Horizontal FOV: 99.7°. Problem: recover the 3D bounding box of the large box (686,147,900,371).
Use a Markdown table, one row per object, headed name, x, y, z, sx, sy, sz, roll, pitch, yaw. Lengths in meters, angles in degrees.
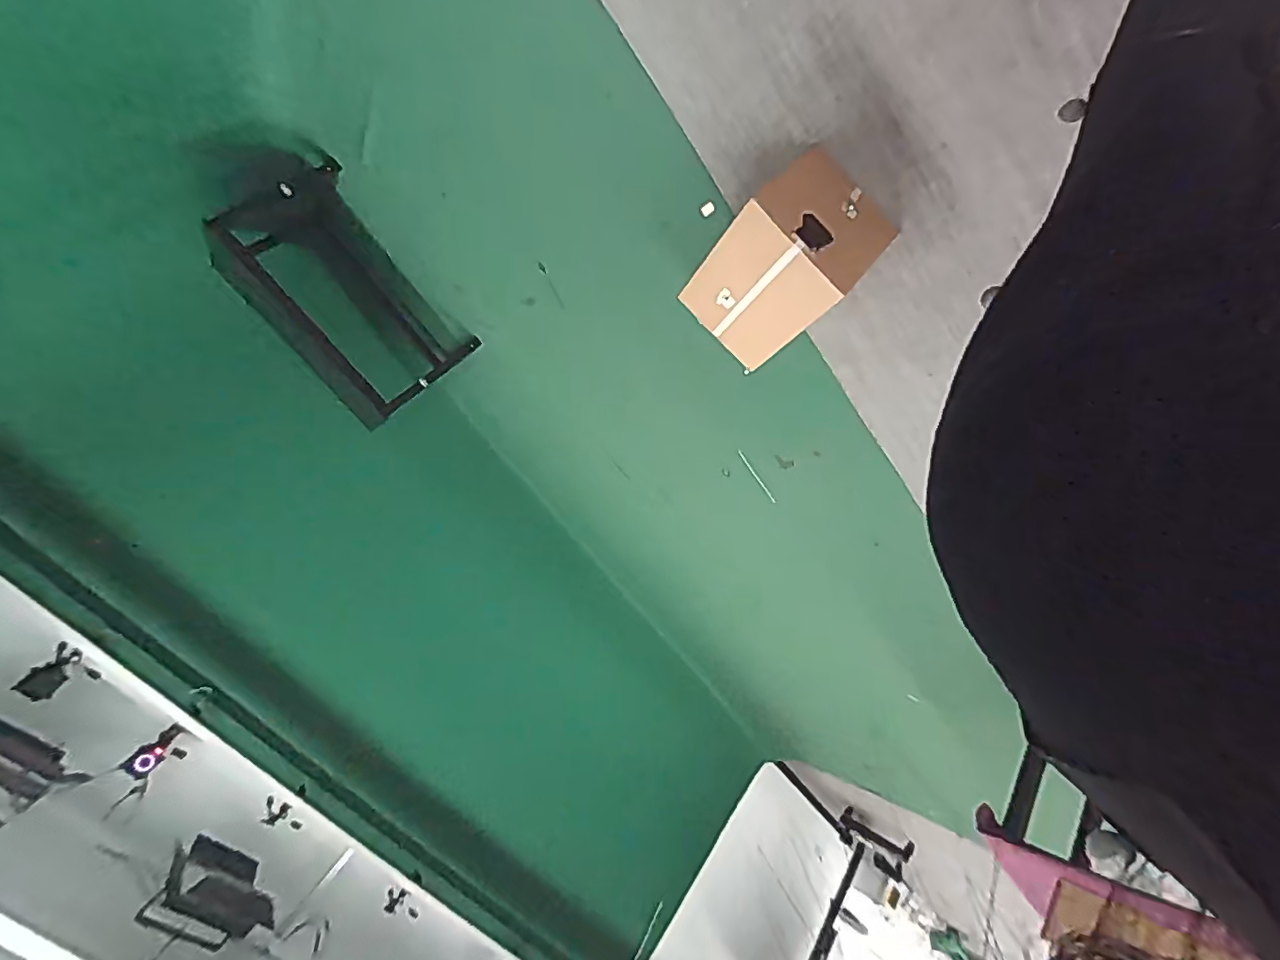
| name | x | y | z | sx | sy | sz | roll | pitch | yaw |
| --- | --- | --- | --- | --- | --- | --- | --- | --- | --- |
| large box | 0.396 | -0.575 | 1.460 | 0.320 | 0.320 | 0.408 | 45 | 155 | -3 |
